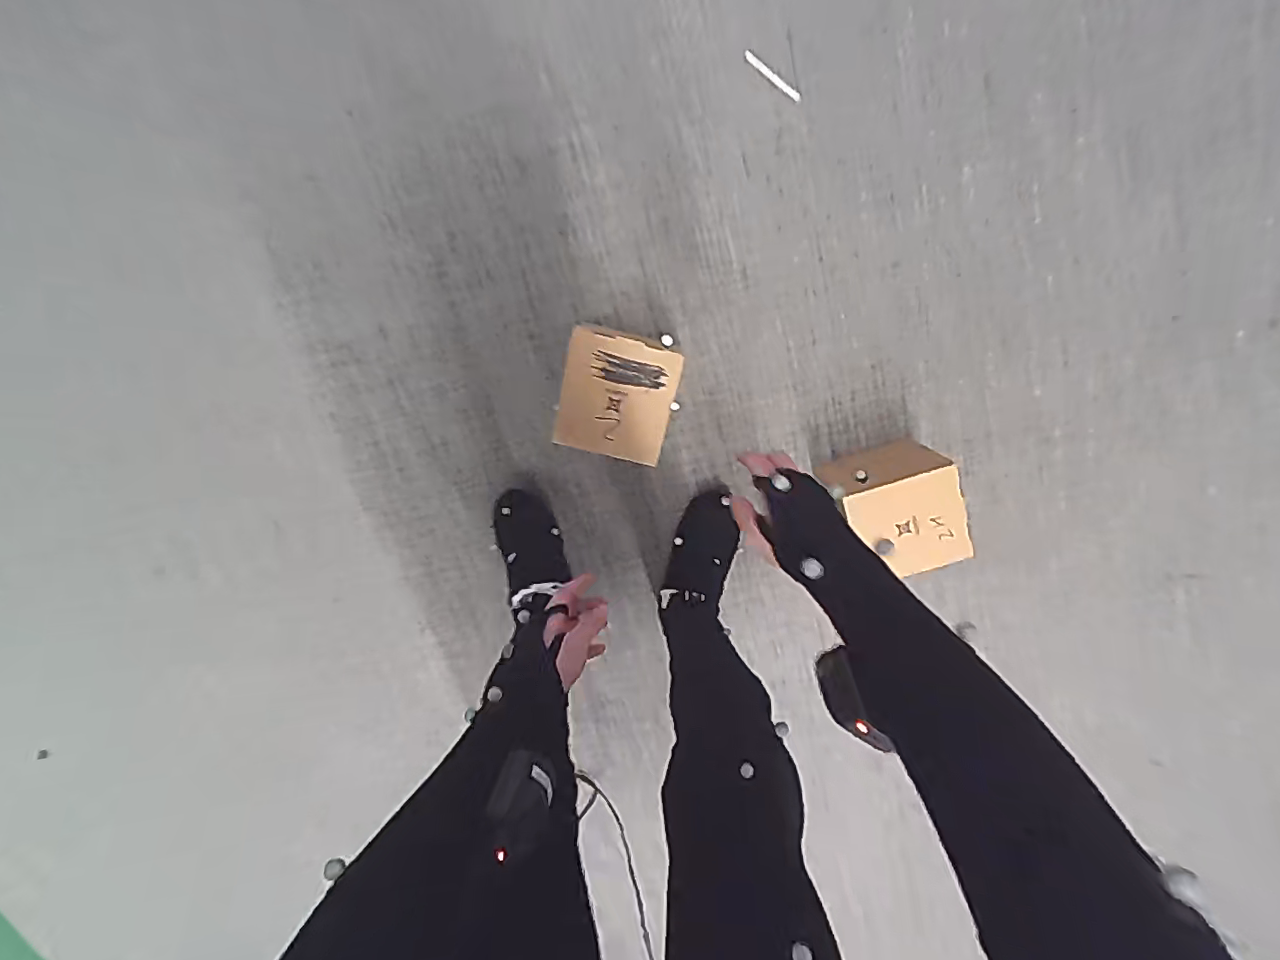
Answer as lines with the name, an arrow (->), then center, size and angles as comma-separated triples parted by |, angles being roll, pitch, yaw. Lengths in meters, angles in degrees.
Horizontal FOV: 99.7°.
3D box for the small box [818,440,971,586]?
small box -> 0.414, 0.049, 0.912 | 0.179, 0.176, 0.168 | -18, 107, 7
